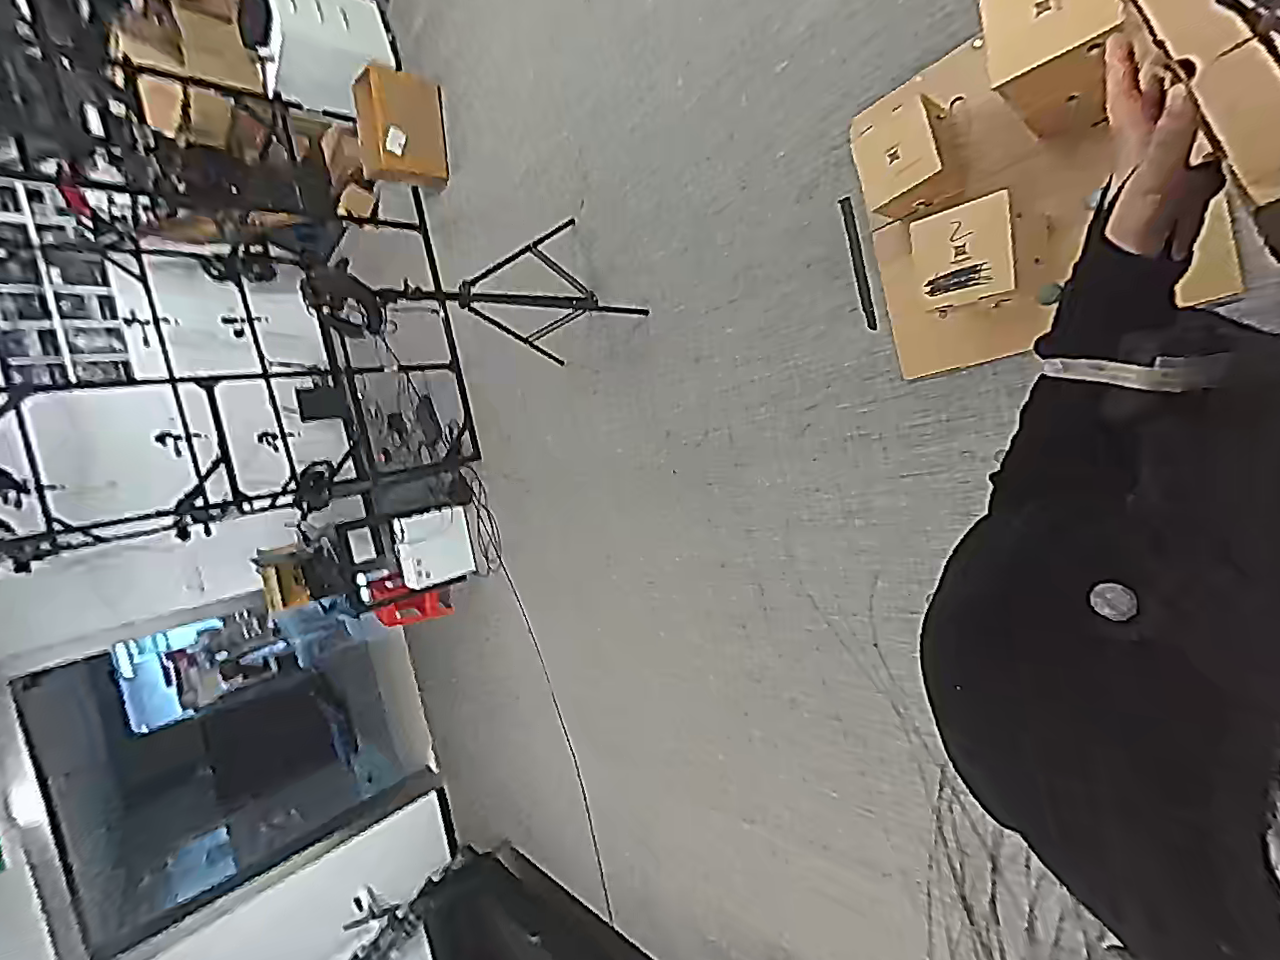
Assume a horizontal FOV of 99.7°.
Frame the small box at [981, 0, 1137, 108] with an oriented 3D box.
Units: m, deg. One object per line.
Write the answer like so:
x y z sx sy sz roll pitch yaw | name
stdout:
0.700 -0.768 0.905 0.179 0.176 0.168 -5 98 47 | small box

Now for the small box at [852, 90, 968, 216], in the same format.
0.623 -0.739 1.246 0.168 0.176 0.179 -18 87 50 | small box

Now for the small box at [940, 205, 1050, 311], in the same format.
0.768 -0.470 1.164 0.168 0.176 0.179 3 105 47 | small box

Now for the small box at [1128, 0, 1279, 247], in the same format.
0.379 -0.235 0.250 0.179 0.176 0.168 -28 73 51 | small box
